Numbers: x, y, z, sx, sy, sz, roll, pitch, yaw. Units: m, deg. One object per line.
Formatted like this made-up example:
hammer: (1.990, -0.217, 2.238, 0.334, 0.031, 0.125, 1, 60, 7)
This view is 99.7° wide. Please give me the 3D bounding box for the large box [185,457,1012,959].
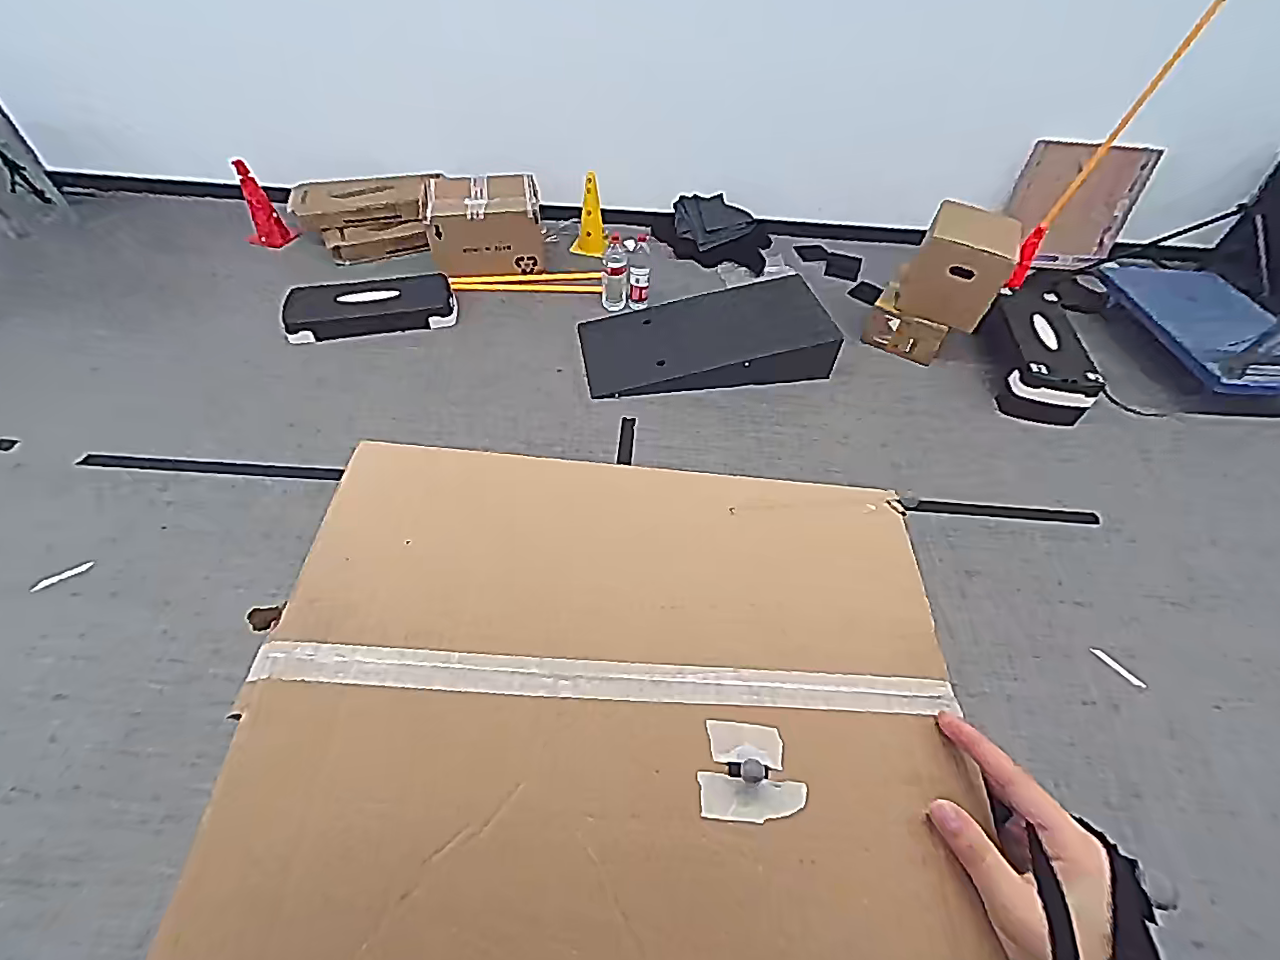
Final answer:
large box: (-0.024, 0.207, 0.452, 0.408, 0.320, 0.320, 6, 56, -5)
